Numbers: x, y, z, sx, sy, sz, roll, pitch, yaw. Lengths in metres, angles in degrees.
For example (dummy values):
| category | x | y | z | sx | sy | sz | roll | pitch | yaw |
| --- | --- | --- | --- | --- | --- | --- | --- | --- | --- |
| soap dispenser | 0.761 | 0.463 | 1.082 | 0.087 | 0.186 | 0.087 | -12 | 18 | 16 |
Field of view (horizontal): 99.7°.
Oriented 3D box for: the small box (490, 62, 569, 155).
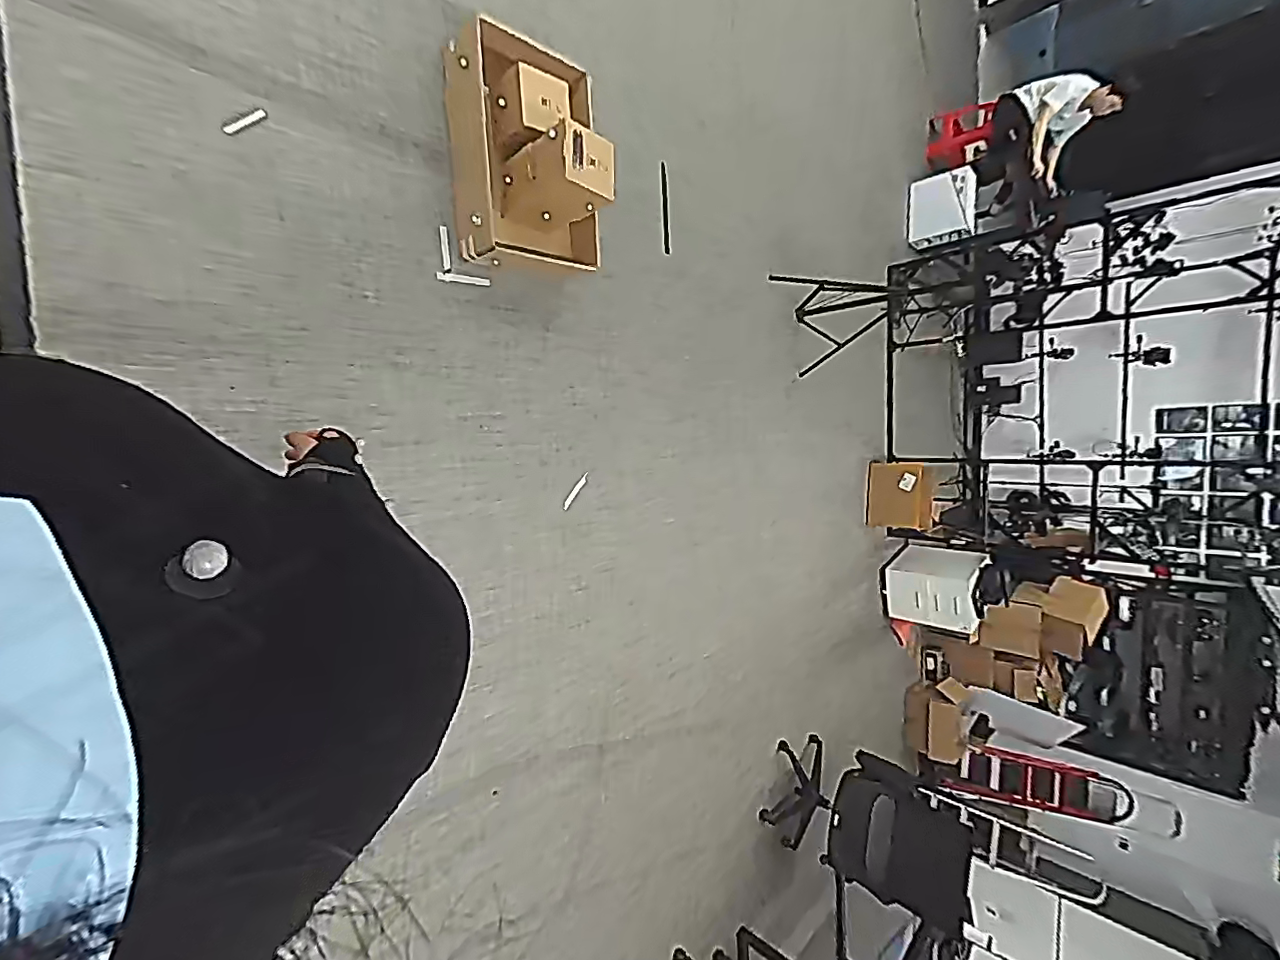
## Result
| category | x | y | z | sx | sy | sz | roll | pitch | yaw |
| --- | --- | --- | --- | --- | --- | --- | --- | --- | --- |
| small box | -0.337 | -1.097 | 1.625 | 0.179 | 0.176 | 0.168 | -10 | 101 | -45 |

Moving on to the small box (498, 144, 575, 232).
| category | x | y | z | sx | sy | sz | roll | pitch | yaw |
| --- | --- | --- | --- | --- | --- | --- | --- | --- | --- |
| small box | -0.318 | -0.885 | 1.664 | 0.179 | 0.176 | 0.168 | -2 | 92 | -45 |
